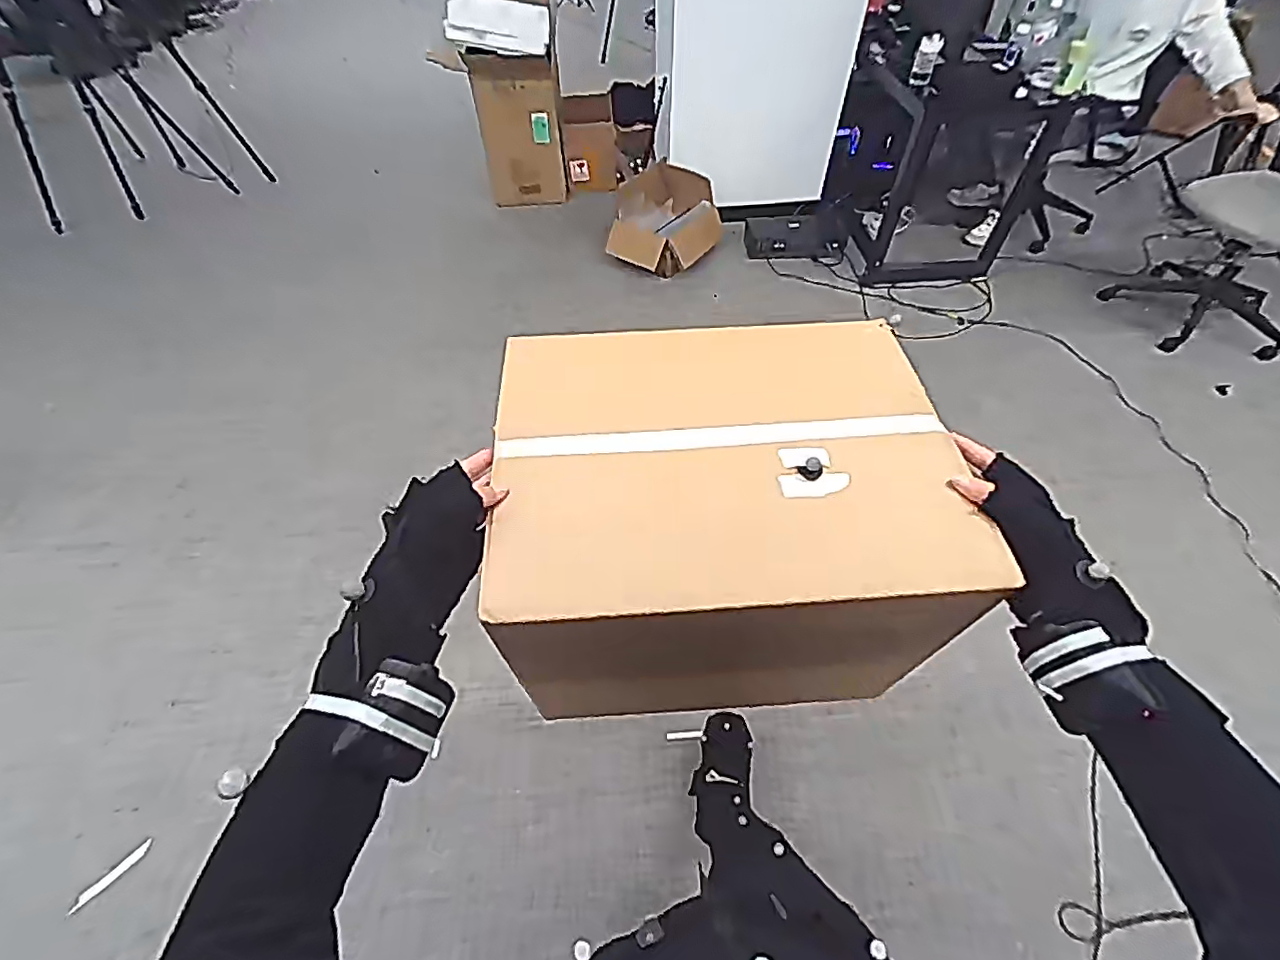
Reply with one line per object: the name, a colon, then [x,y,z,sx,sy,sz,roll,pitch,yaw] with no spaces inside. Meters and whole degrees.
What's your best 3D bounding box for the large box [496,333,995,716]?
large box: [0.073,0.059,0.624,0.408,0.320,0.320,-3,54,-3]
